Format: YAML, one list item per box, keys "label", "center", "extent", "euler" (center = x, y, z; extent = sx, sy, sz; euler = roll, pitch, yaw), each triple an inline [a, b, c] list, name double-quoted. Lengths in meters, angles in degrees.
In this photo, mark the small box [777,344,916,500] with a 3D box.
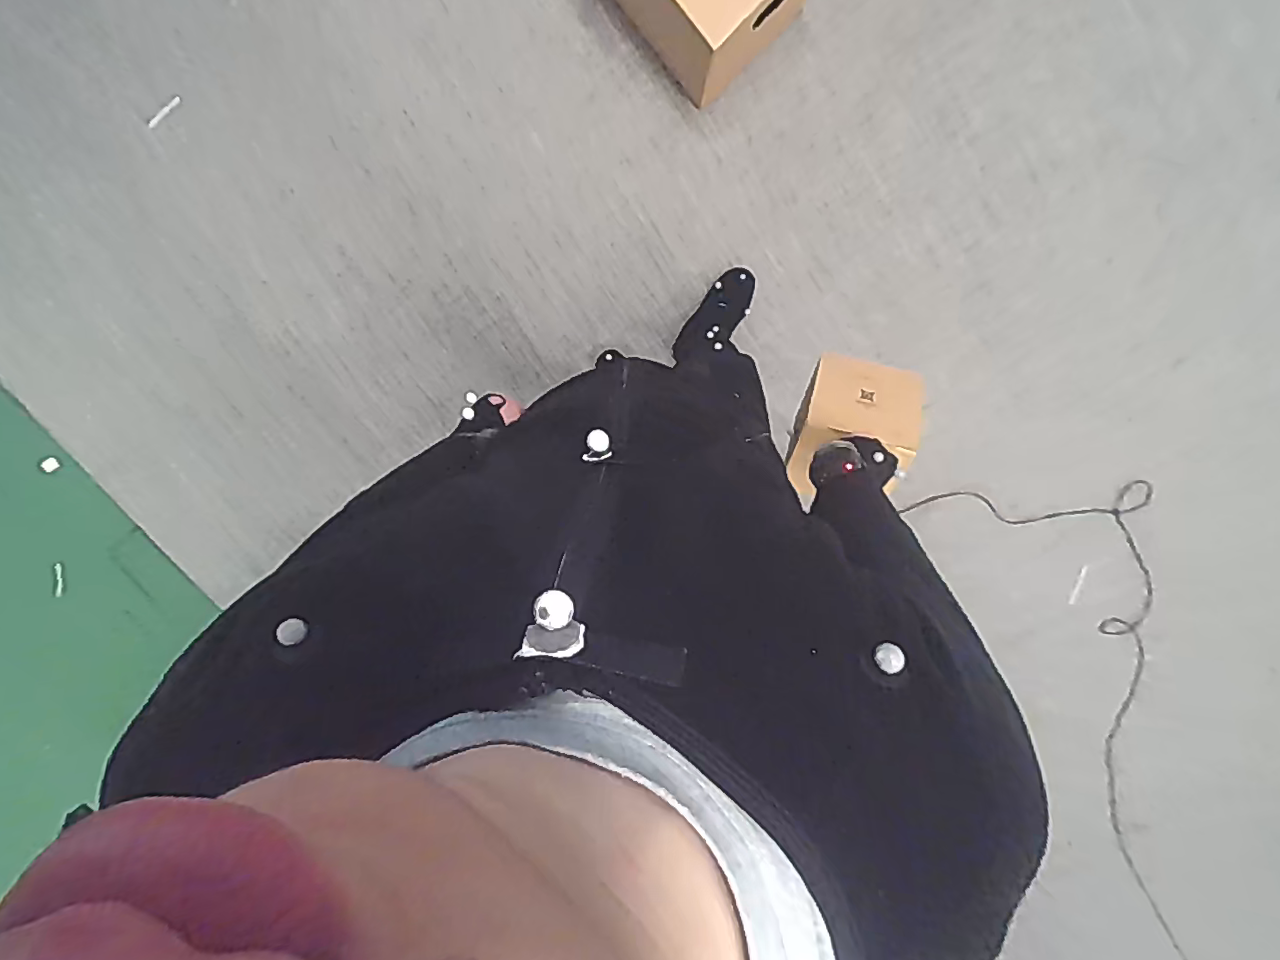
- label: "small box"
  center: [0.340, -0.093, 0.909]
  extent: [0.168, 0.179, 0.176]
  euler: [17, 145, 7]
